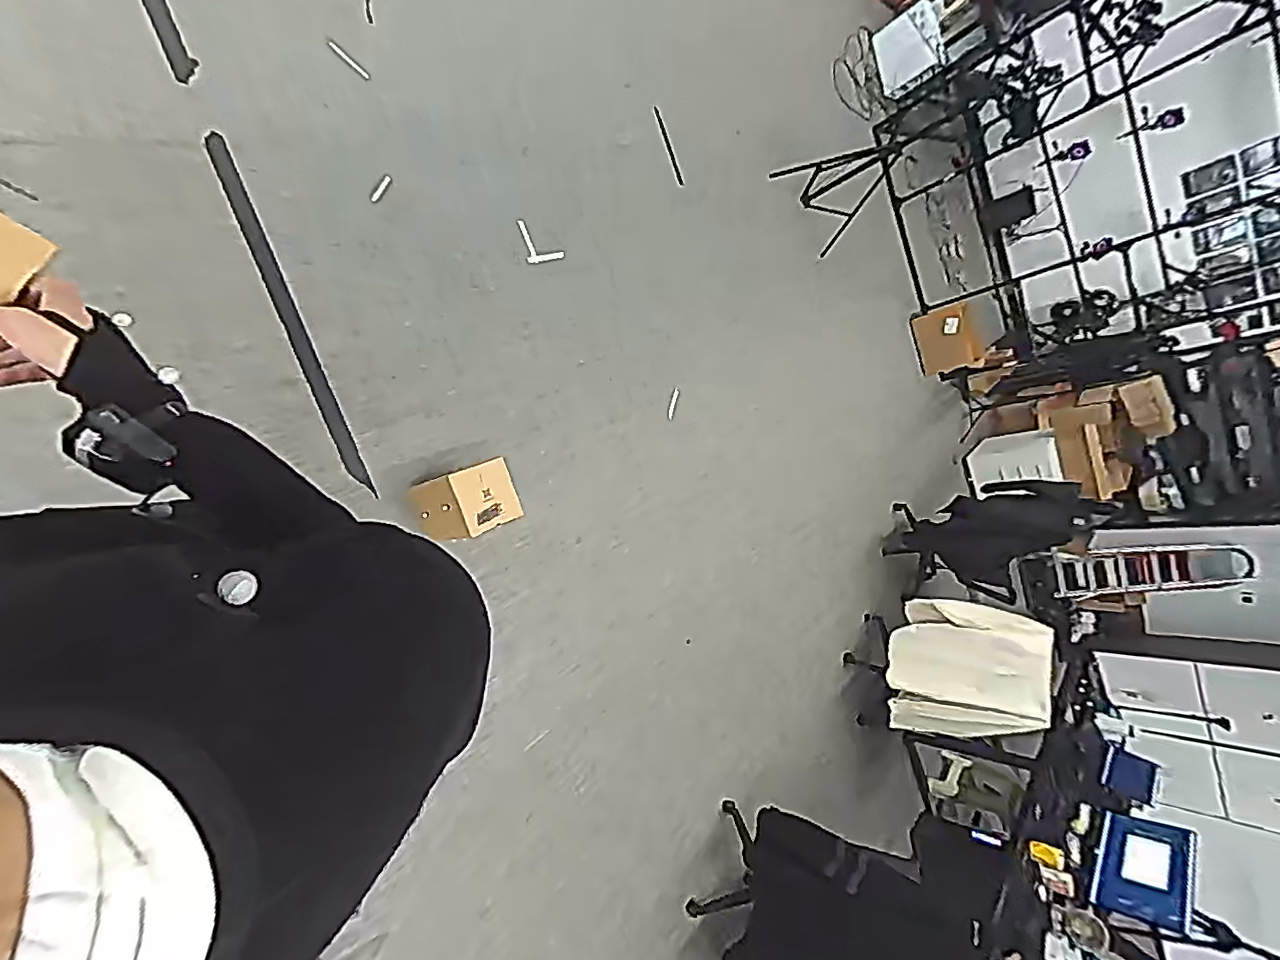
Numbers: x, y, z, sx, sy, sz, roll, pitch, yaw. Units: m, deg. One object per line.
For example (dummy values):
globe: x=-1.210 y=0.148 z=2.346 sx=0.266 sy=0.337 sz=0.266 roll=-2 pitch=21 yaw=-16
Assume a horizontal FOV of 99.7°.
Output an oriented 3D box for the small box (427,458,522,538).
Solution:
small box: x=-0.459 y=0.053 z=1.492 sx=0.168 sy=0.176 sz=0.179 roll=-26 pitch=99 yaw=-40
